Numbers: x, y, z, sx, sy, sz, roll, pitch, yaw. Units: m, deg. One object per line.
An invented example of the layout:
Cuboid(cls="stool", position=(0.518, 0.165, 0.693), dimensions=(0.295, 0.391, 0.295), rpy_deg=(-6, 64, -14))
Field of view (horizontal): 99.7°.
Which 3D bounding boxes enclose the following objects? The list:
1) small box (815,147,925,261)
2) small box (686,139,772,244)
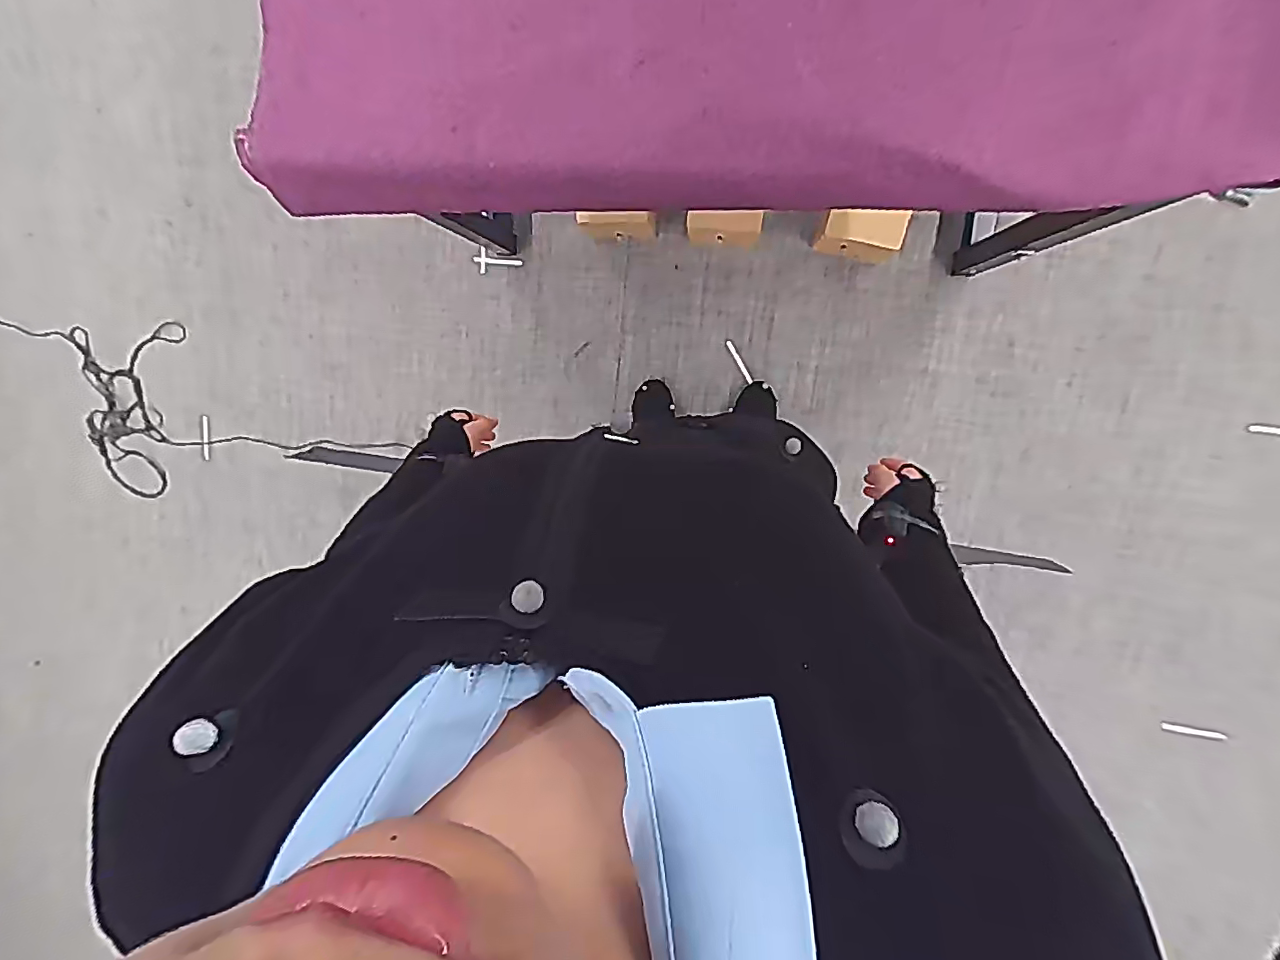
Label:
Cuboid(cls="small box", position=(0.508, -0.614, 1.226), dimensions=(0.168, 0.176, 0.179), rpy_deg=(15, 103, 5))
Cuboid(cls="small box", position=(0.204, -0.660, 1.256), dimensions=(0.168, 0.176, 0.179), rpy_deg=(8, 102, 6))
